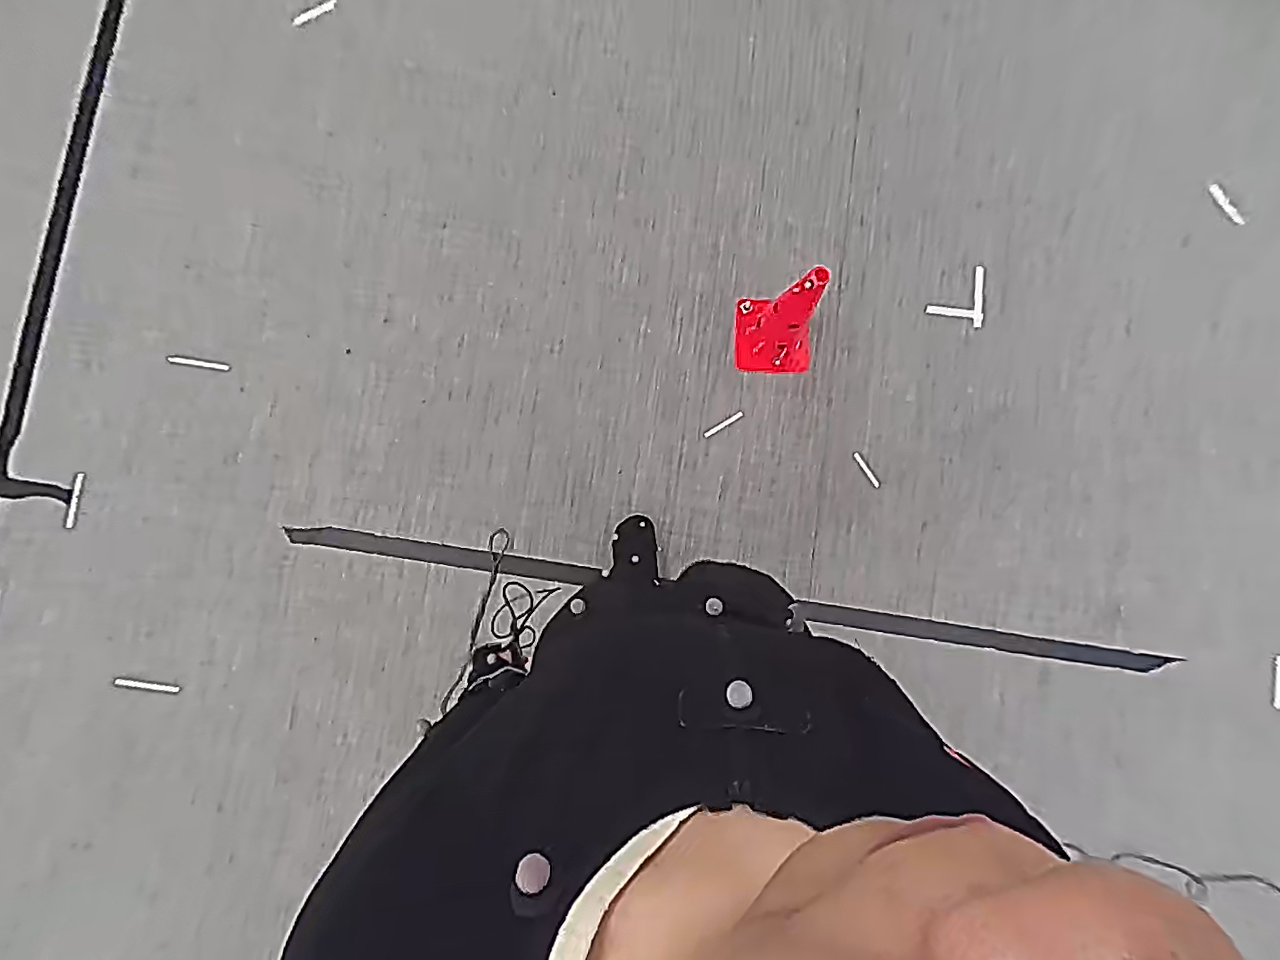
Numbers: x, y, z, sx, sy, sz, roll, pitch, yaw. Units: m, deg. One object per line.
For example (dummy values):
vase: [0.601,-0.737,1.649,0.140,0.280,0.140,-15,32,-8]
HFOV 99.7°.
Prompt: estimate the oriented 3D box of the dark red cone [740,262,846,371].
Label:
dark red cone: [0.364,-0.391,1.231,0.202,0.394,0.201,1,86,-2]
